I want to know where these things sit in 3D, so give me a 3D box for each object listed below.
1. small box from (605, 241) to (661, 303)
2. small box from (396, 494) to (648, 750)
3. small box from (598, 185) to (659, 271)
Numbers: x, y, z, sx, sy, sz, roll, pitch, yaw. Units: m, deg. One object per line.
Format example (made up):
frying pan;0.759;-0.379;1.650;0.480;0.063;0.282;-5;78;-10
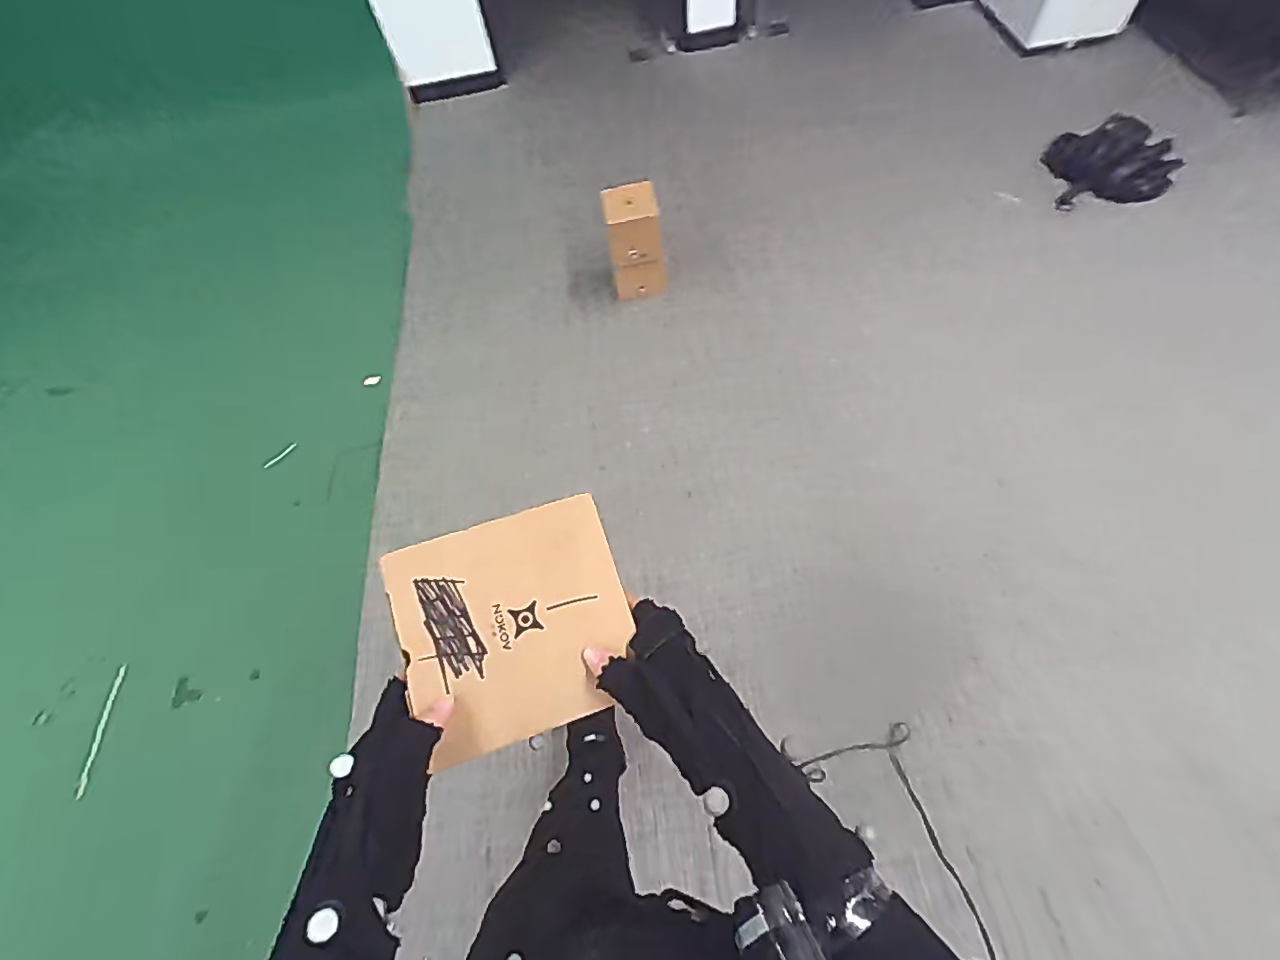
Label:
small box;-0.021;-0.755;1.915;0.179;0.176;0.168;-10;60;1
small box;-0.102;0.133;0.514;0.179;0.176;0.168;-16;74;-10
small box;-0.035;-0.819;1.765;0.168;0.176;0.179;-12;62;2
